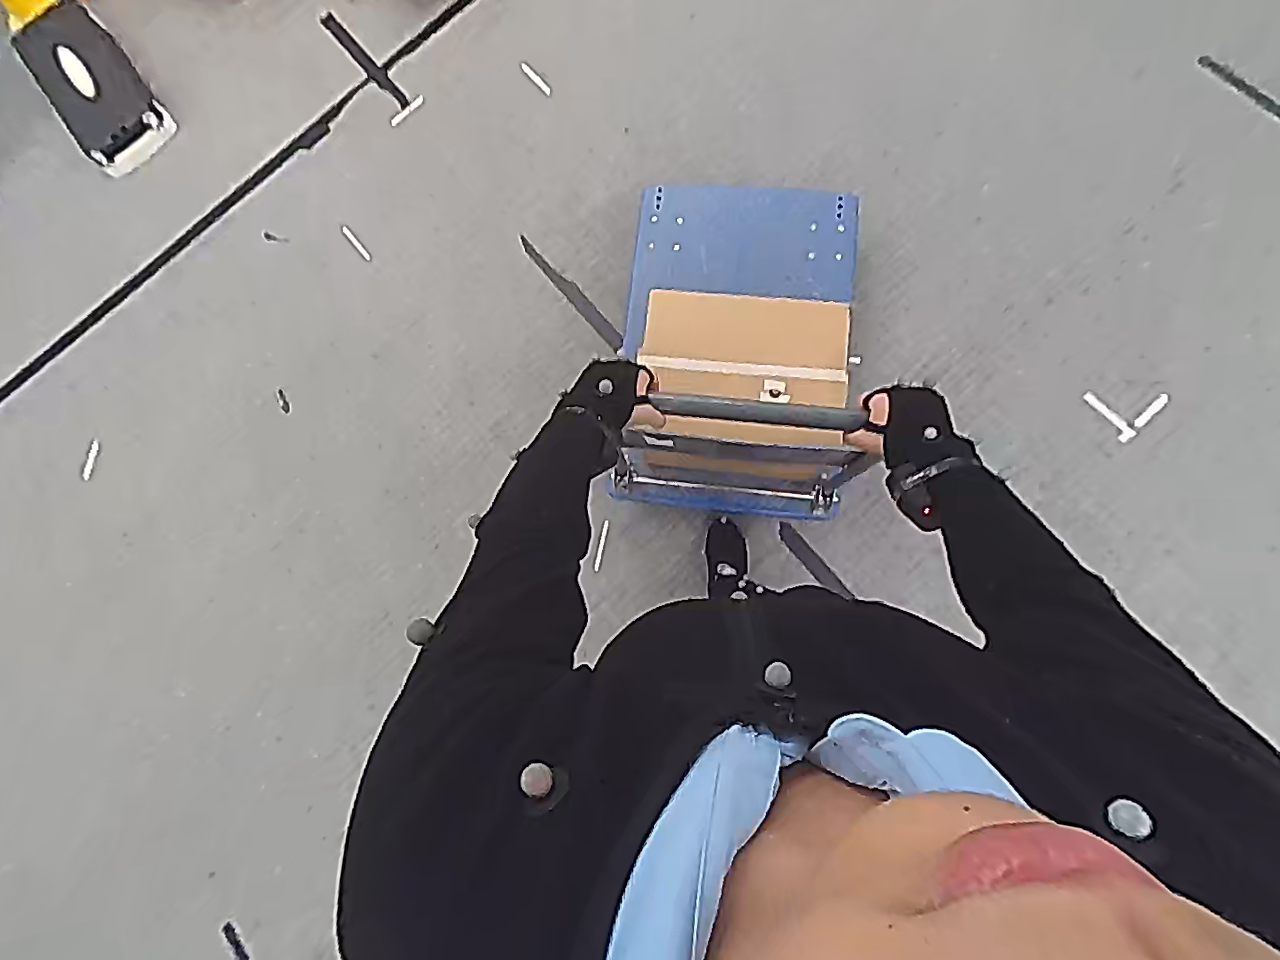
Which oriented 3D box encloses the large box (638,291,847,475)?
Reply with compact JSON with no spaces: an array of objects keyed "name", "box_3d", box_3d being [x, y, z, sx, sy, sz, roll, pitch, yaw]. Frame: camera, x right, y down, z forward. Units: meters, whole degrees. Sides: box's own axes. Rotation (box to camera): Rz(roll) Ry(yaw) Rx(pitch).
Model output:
[{"name":"large box","box_3d":[0.213,-0.199,1.224,0.408,0.320,0.320,6,82,4]}]
